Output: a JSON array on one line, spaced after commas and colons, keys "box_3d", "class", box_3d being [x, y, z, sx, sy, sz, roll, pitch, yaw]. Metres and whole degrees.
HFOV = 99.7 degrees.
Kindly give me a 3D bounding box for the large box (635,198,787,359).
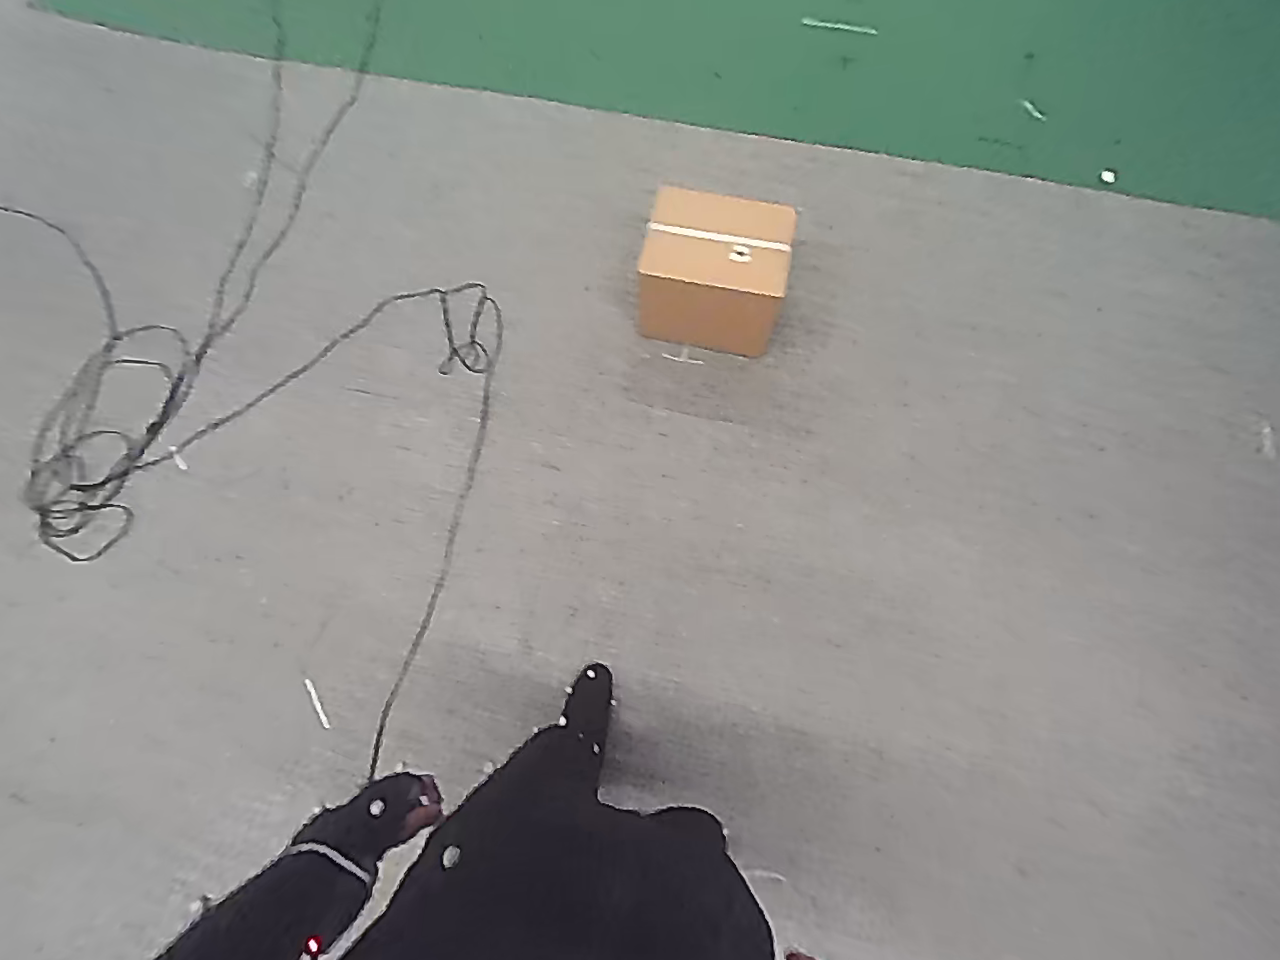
[{"box_3d": [0.204, -0.609, 1.669, 0.408, 0.320, 0.320, 11, 72, 4], "class": "large box"}]
